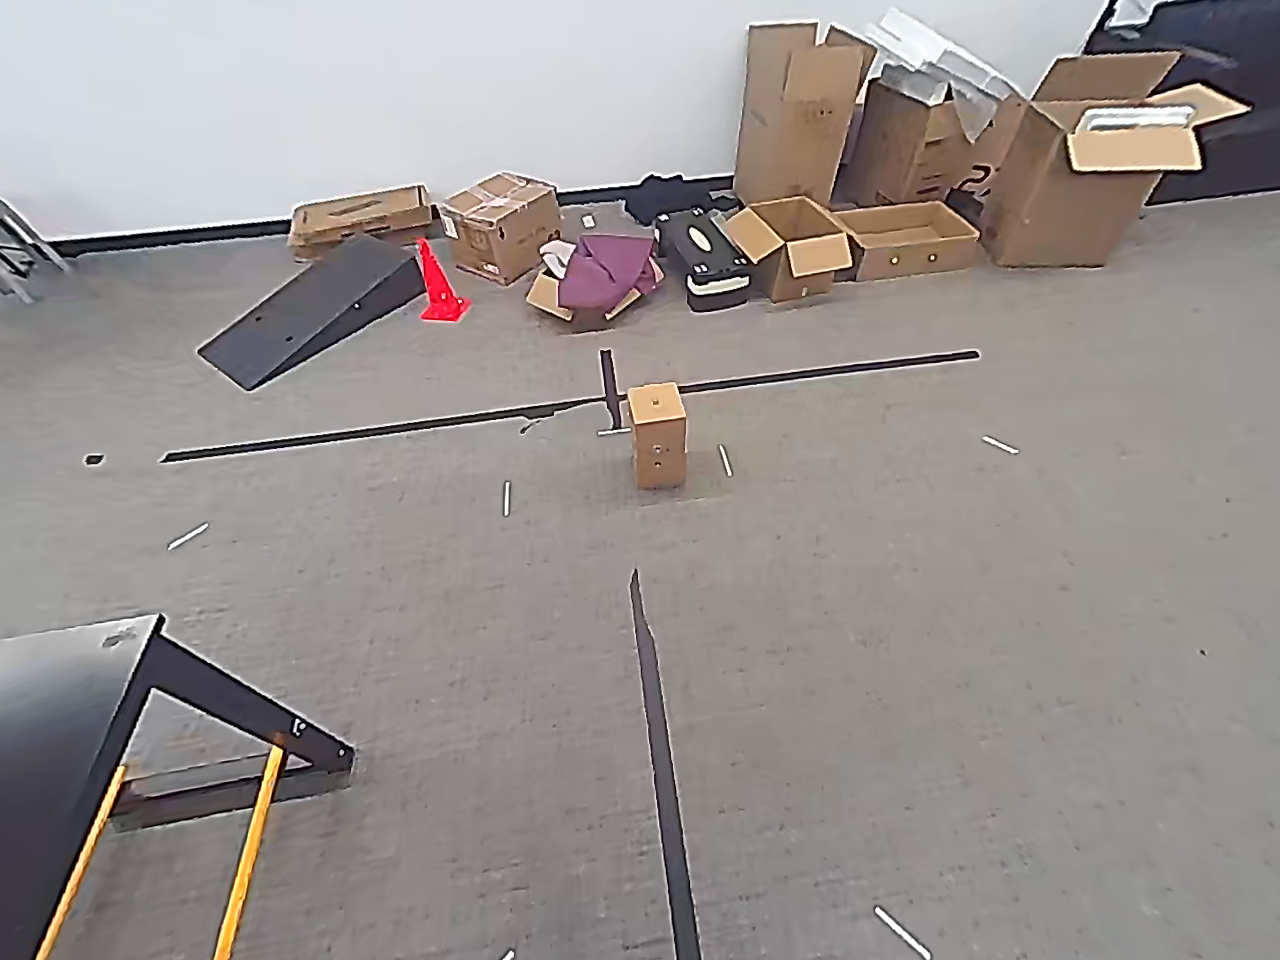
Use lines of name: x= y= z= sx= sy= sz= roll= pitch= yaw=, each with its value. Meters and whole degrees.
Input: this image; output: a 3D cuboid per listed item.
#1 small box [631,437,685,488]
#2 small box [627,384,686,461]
small box: x=0.062 y=-0.084 z=1.910 sx=0.179 sy=0.176 sz=0.168 roll=-5 pitch=50 yaw=-3
small box: x=0.052 y=-0.189 z=1.787 sx=0.168 sy=0.176 sz=0.179 roll=-10 pitch=51 yaw=-4
